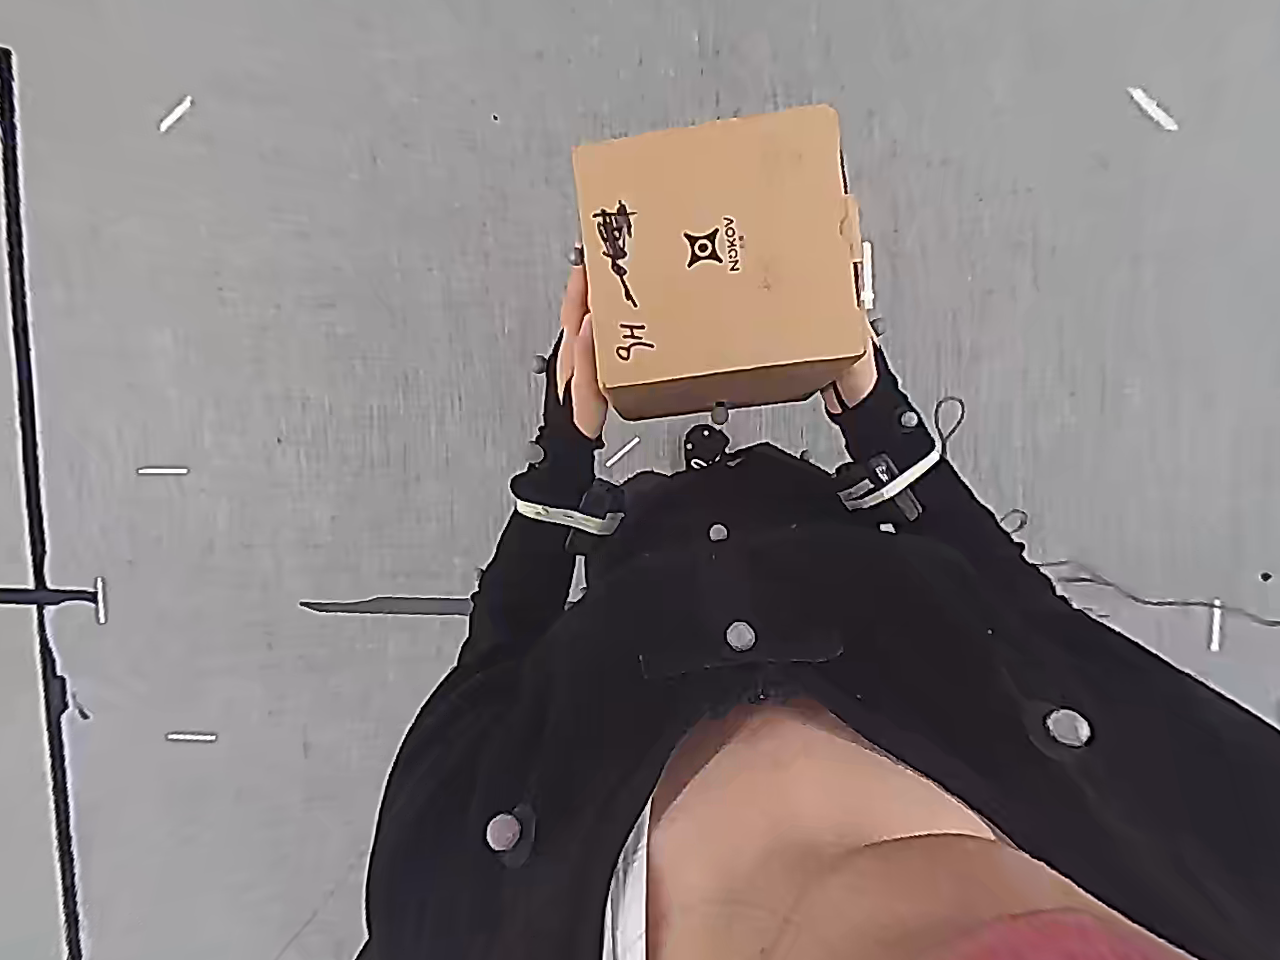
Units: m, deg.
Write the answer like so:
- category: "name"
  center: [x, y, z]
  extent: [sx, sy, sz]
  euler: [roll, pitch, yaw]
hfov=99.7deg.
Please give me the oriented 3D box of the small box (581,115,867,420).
- category: "small box"
  center: [0.057, -0.147, 0.434]
  extent: [0.179, 0.176, 0.168]
  euler: [-7, 88, 3]
